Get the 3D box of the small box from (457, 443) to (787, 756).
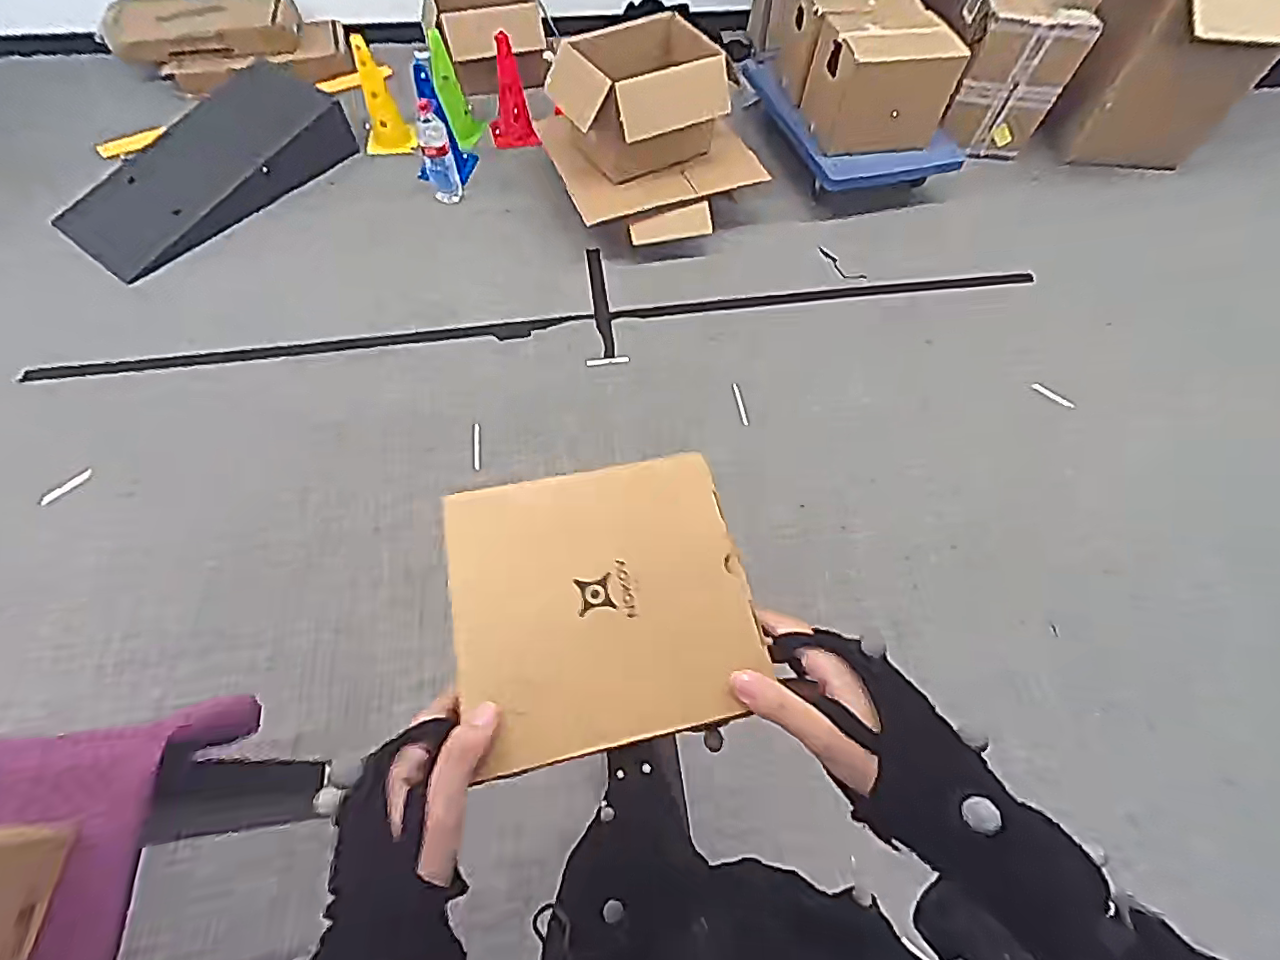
[{"bbox_3d":[-0.021,0.096,0.397,0.179,0.176,0.168,-10,65,-10],"label":"small box"}]
